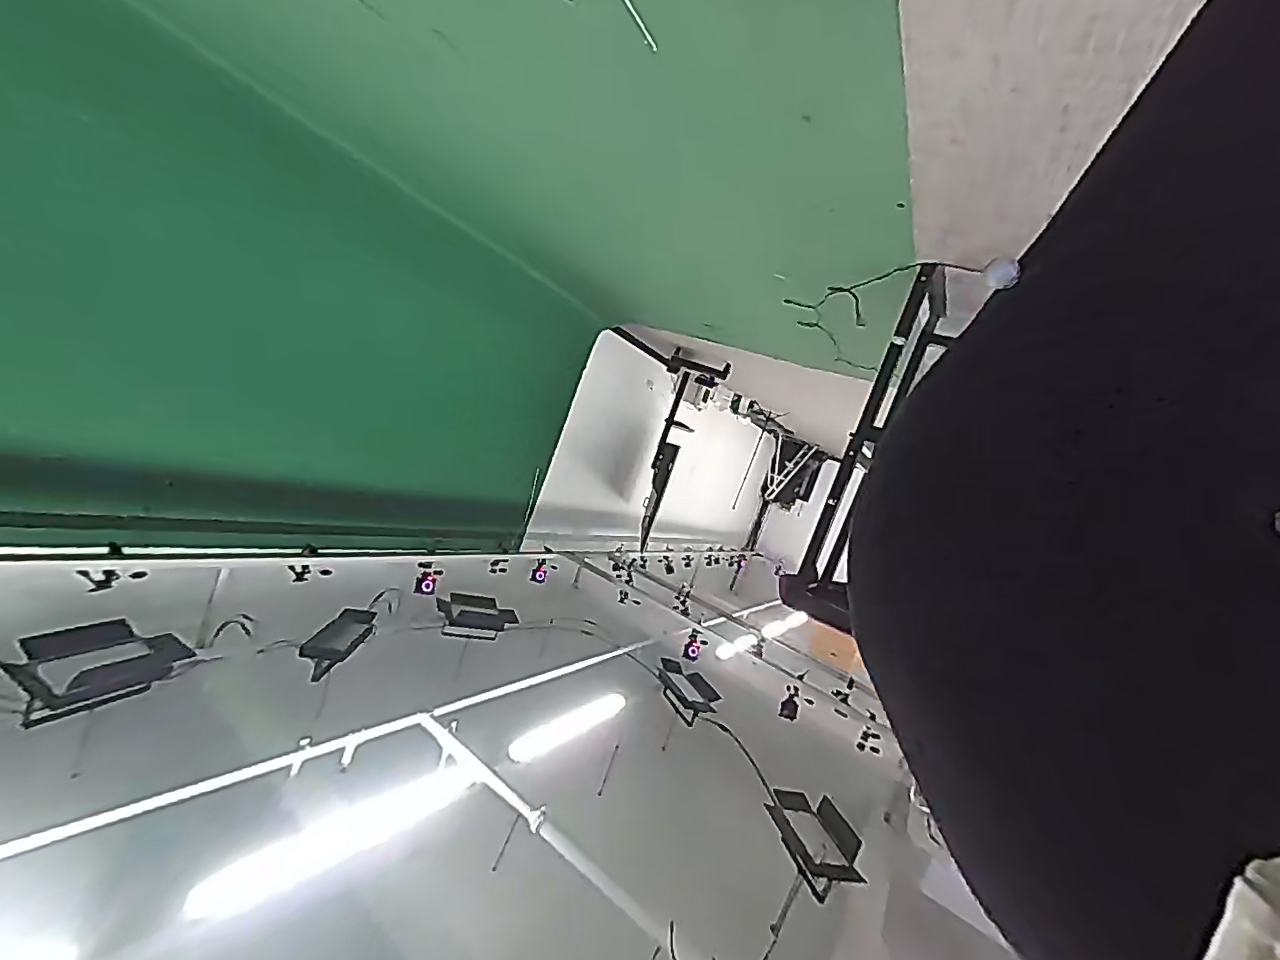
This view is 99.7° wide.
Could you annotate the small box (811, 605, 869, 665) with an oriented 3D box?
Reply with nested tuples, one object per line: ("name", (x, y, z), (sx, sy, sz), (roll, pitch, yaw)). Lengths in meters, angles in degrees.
("small box", (0.841, 0.641, 2.260), (0.179, 0.176, 0.168), (22, -174, 29))
